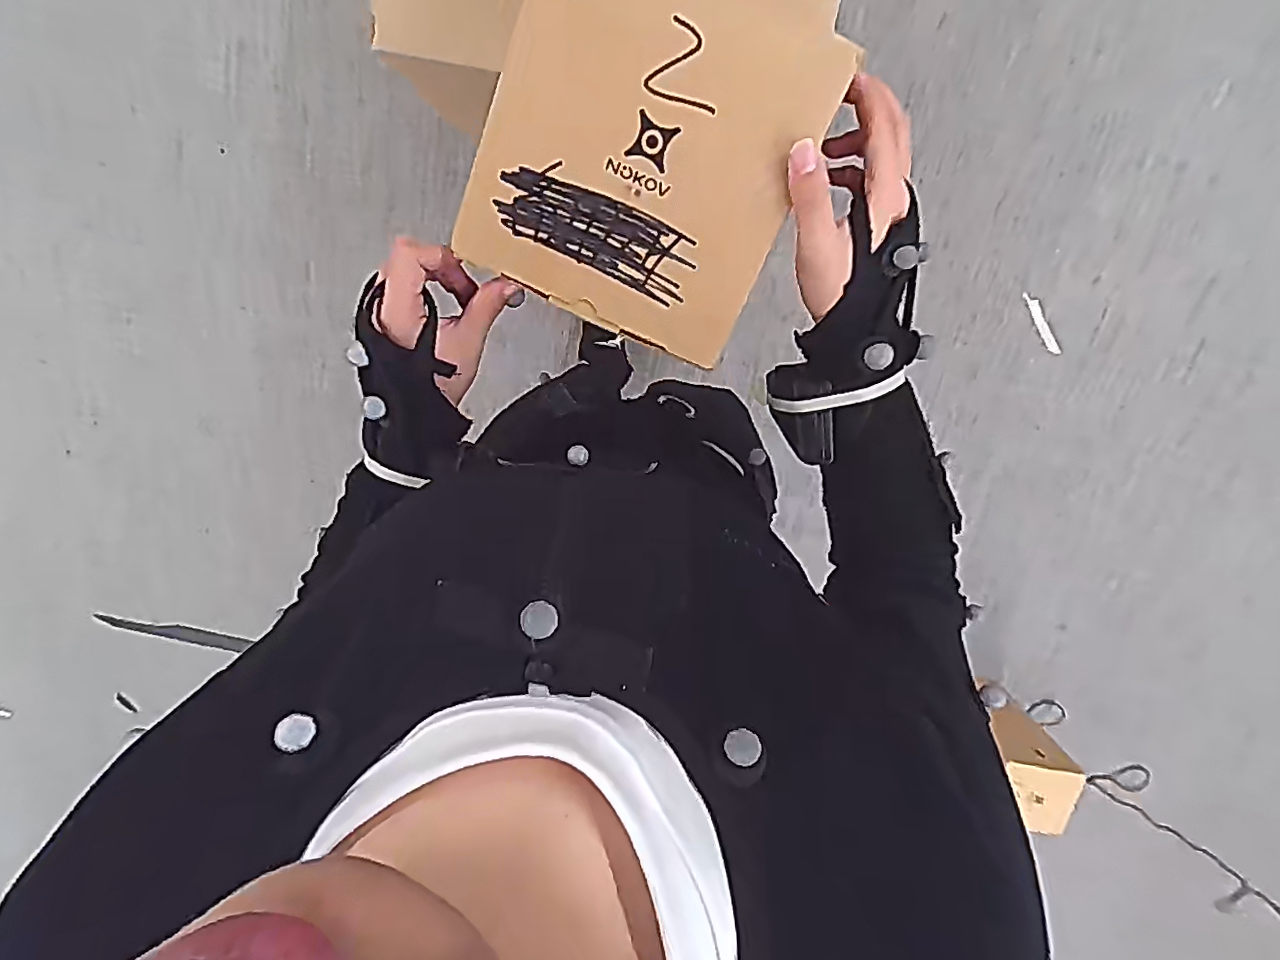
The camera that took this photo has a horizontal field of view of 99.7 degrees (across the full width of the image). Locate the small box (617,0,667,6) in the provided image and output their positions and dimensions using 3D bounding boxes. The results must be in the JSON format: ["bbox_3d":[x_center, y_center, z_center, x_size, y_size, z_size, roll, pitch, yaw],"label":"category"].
[{"bbox_3d":[-0.025,-0.594,0.505,0.179,0.176,0.168,10,105,0],"label":"small box"}]

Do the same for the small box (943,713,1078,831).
[{"bbox_3d":[0.856,0.677,1.269,0.179,0.176,0.168,10,104,0],"label":"small box"}]

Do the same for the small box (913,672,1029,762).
[{"bbox_3d":[0.864,0.635,1.429,0.179,0.176,0.168,12,104,0],"label":"small box"}]
